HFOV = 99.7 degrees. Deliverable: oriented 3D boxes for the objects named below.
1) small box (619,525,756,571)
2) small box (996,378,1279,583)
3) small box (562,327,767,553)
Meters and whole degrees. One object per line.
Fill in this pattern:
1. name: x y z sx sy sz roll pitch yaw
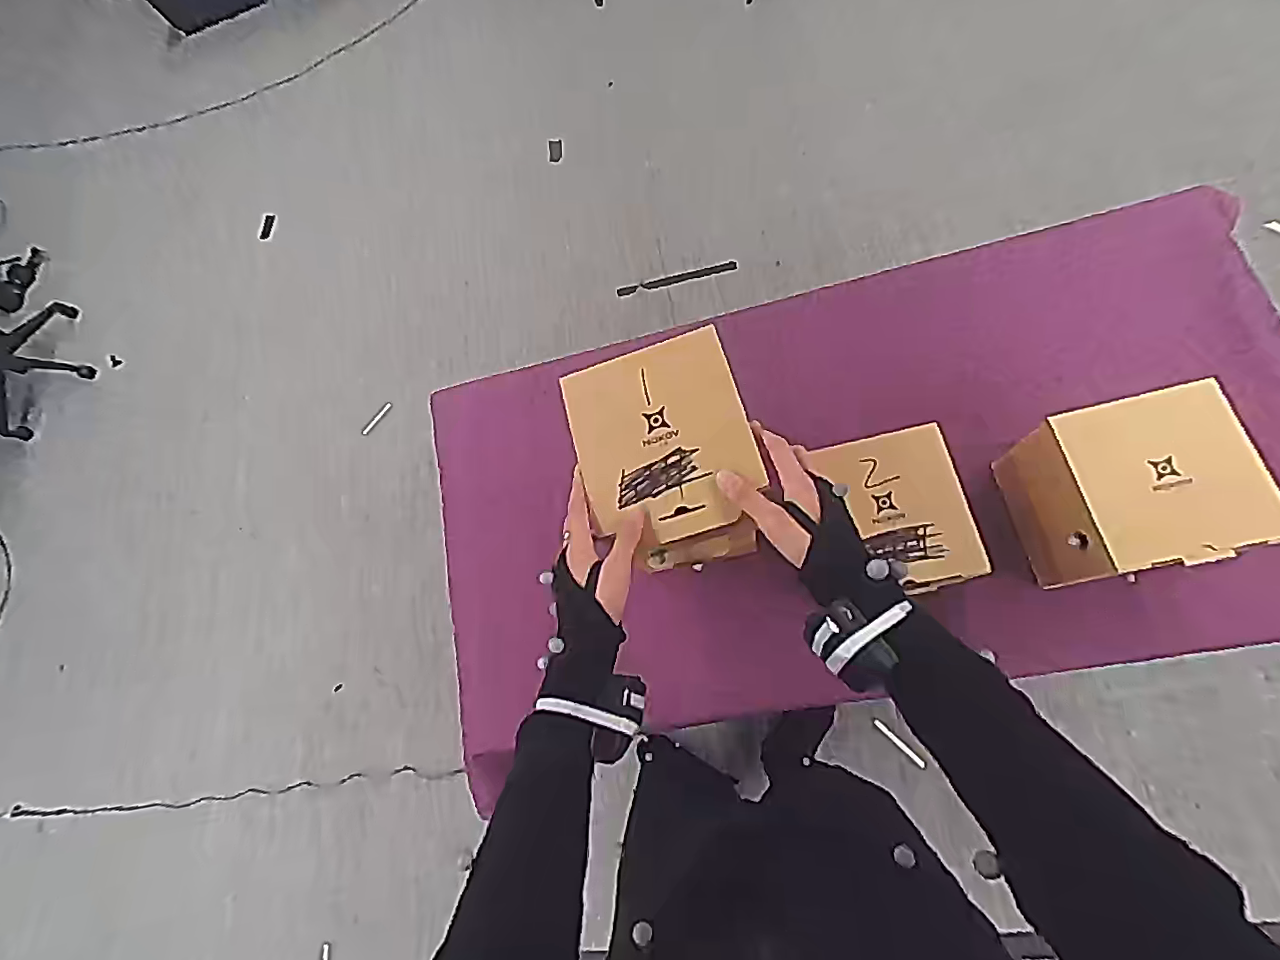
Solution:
1. small box: 0.059 0.017 0.742 0.168 0.176 0.179 -13 72 10
2. small box: 0.555 0.013 0.627 0.168 0.176 0.179 -14 72 9
3. small box: 0.035 -0.026 0.585 0.168 0.176 0.179 -18 71 8
